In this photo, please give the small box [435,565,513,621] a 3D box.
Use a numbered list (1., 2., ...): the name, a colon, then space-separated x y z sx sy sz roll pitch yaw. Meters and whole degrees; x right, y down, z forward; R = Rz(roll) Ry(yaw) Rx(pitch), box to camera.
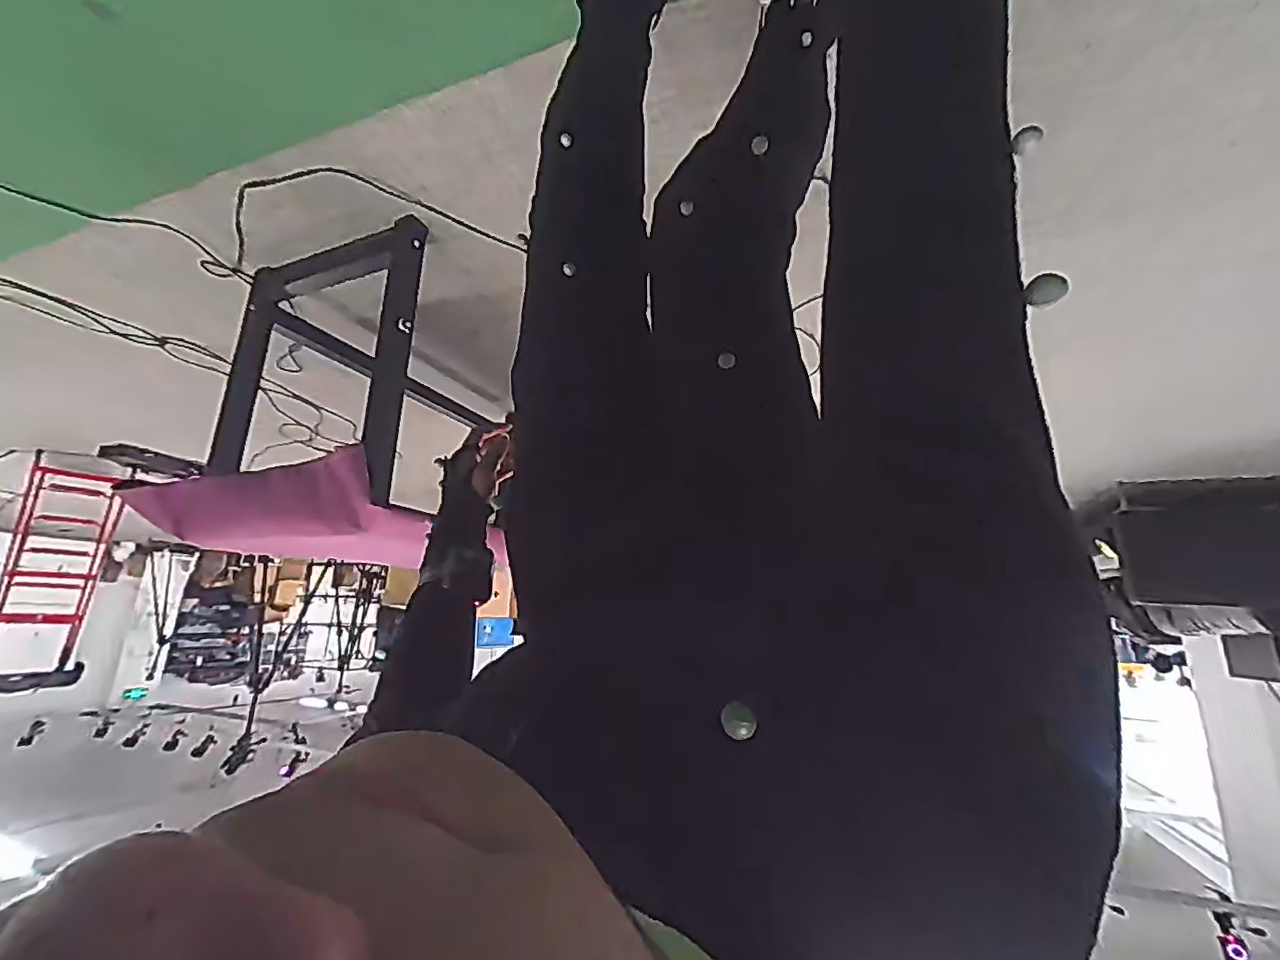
1. small box: -0.524 0.361 1.722 0.168 0.176 0.179 -4 165 23
